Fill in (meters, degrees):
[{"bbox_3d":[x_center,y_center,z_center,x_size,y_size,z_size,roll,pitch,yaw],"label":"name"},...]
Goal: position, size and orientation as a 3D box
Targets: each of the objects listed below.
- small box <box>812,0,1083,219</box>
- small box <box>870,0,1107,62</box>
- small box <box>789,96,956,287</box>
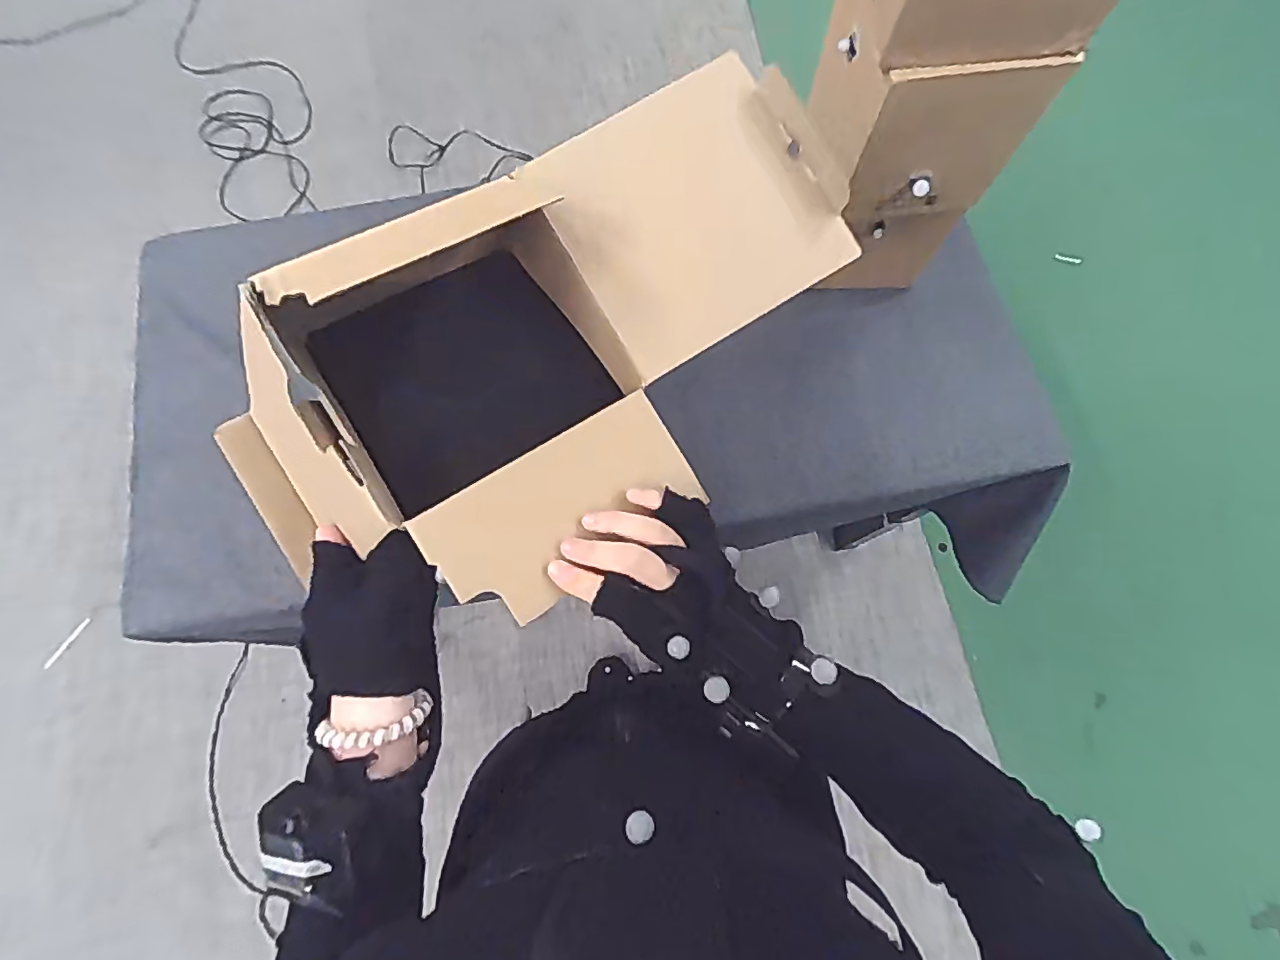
[{"bbox_3d":[0.289,-0.404,0.556,0.168,0.176,0.179,-5,74,1],"label":"small box"},{"bbox_3d":[0.279,-0.451,0.401,0.179,0.176,0.168,-3,74,2],"label":"small box"},{"bbox_3d":[0.301,-0.376,0.718,0.179,0.176,0.168,1,74,2],"label":"small box"}]
